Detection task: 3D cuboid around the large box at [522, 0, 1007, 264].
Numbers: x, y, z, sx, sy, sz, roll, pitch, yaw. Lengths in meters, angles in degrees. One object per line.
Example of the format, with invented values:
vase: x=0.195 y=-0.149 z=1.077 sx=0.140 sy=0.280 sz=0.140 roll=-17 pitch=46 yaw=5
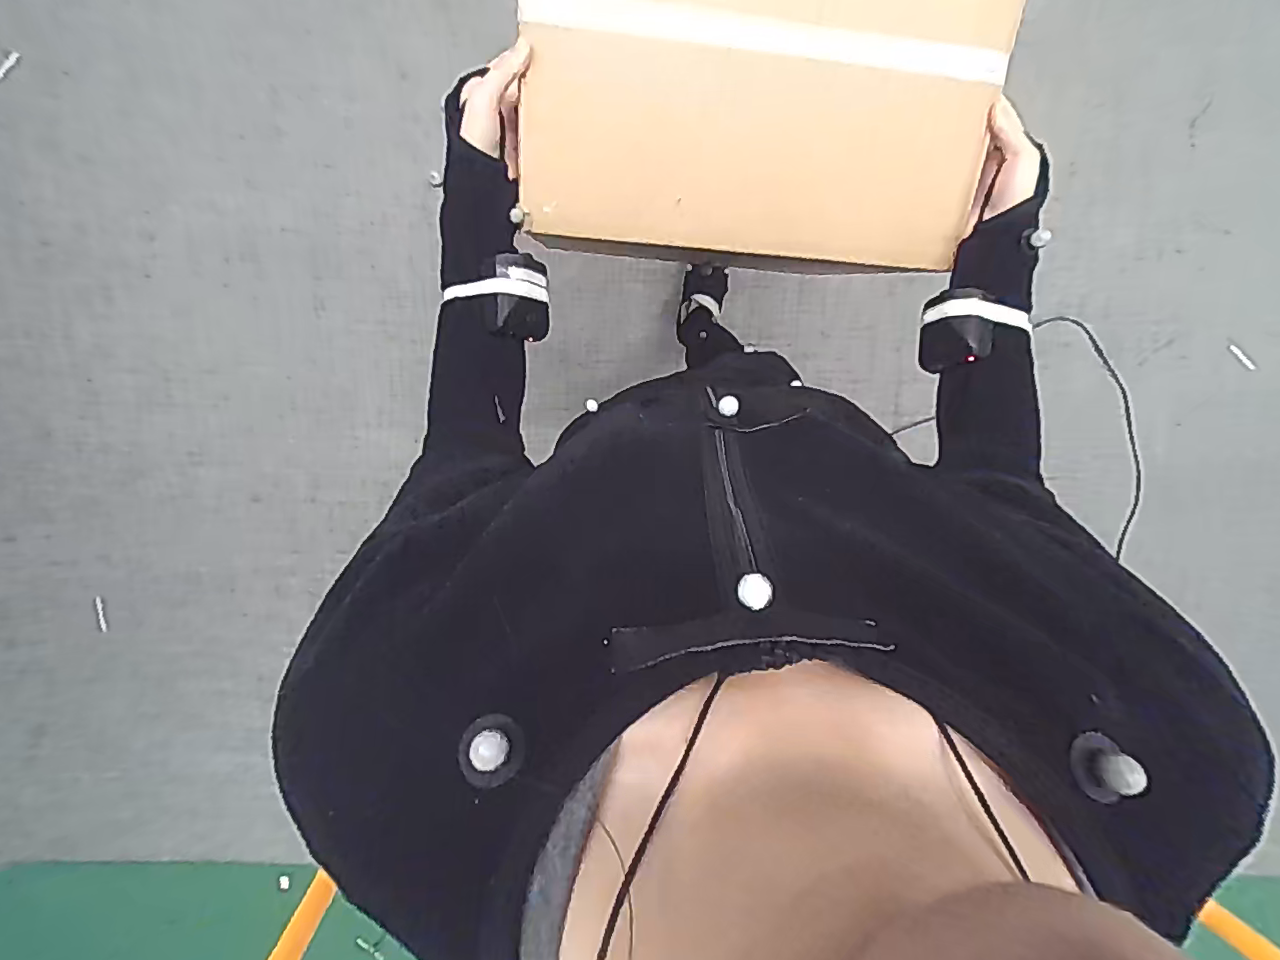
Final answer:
large box: x=0.093 y=-0.411 z=0.586 sx=0.408 sy=0.320 sz=0.320 roll=2 pitch=109 yaw=-6
